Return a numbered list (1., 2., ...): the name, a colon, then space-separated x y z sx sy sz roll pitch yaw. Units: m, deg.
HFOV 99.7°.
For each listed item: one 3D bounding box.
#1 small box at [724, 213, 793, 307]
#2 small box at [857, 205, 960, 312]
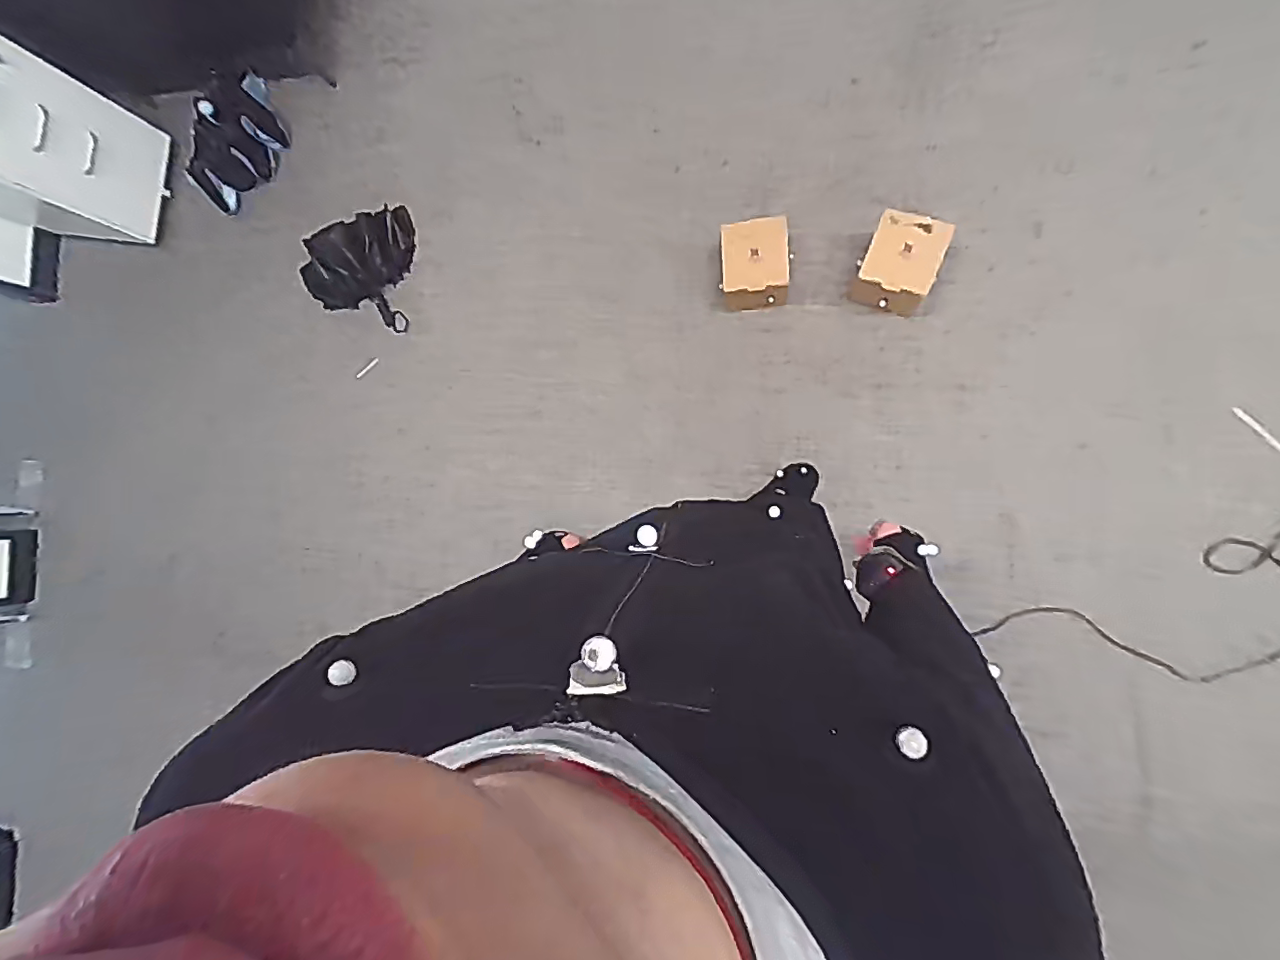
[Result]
1. small box: 0.314 -0.569 1.428 0.168 0.176 0.179 -4 87 13
2. small box: 0.650 -0.538 1.336 0.168 0.176 0.179 22 96 14
